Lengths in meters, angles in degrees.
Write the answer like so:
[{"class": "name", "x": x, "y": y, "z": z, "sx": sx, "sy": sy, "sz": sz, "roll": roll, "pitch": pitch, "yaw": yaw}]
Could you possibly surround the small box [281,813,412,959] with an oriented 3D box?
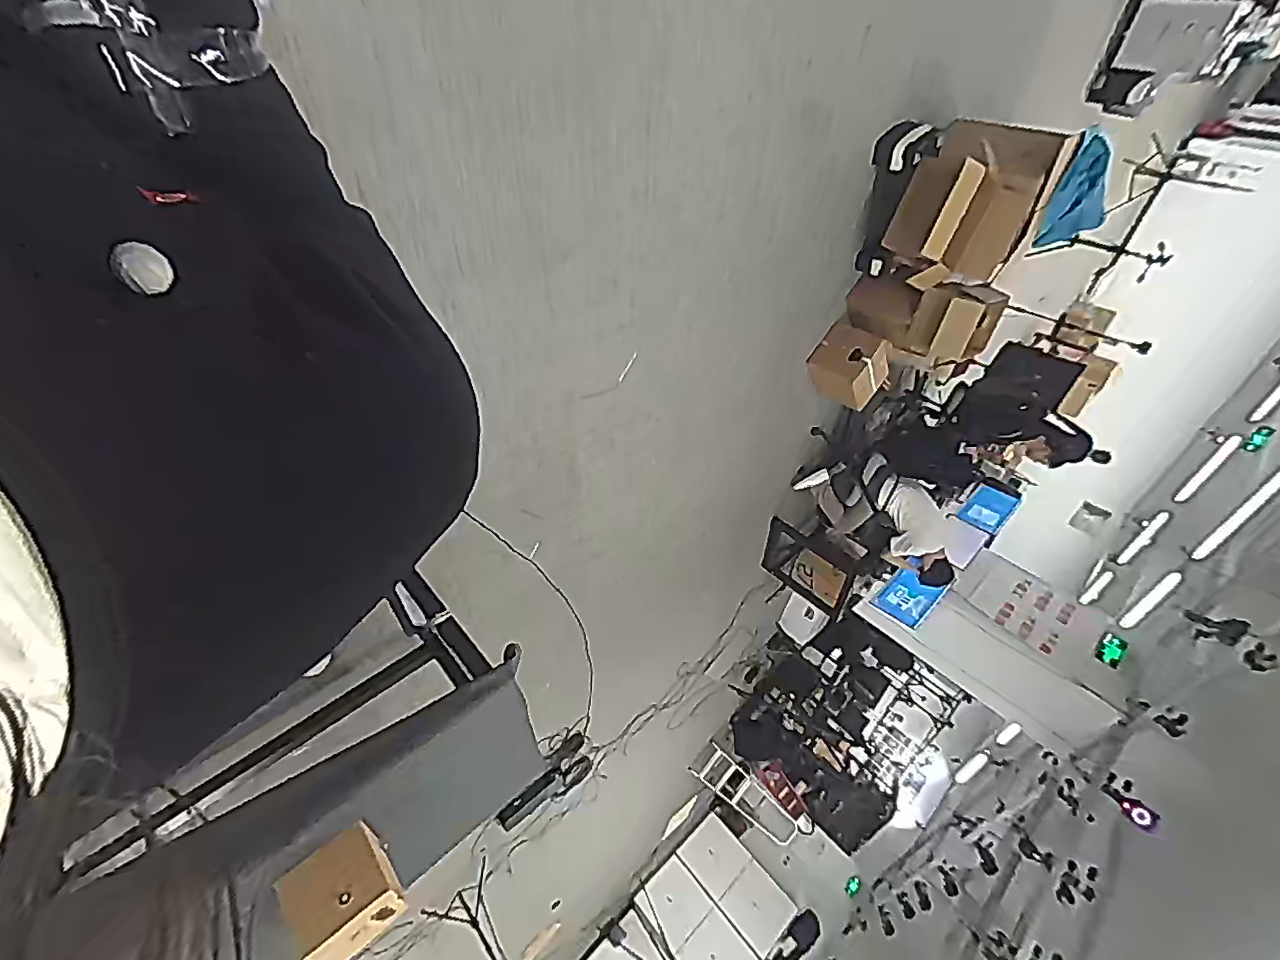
[{"class": "small box", "x": -0.629, "y": 0.866, "z": 1.164, "sx": 0.179, "sy": 0.176, "sz": 0.168, "roll": -30, "pitch": 140, "yaw": -32}]
